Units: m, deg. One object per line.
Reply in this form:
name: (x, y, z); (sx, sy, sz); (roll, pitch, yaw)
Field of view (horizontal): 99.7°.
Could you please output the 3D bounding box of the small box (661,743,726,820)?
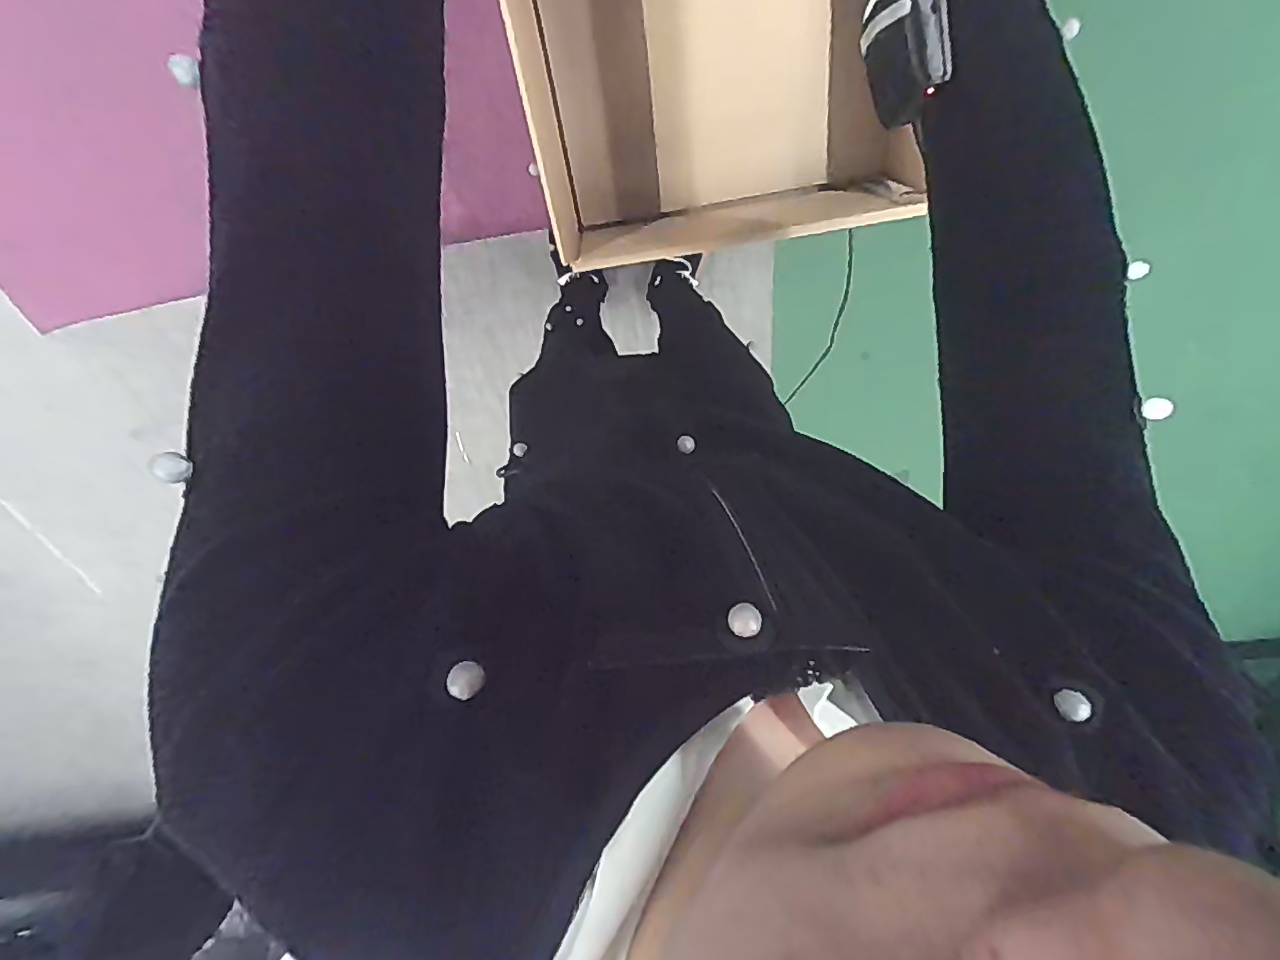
small box: (0.186, 1.080, 1.941); (0.179, 0.176, 0.168); (-32, 121, 18)
